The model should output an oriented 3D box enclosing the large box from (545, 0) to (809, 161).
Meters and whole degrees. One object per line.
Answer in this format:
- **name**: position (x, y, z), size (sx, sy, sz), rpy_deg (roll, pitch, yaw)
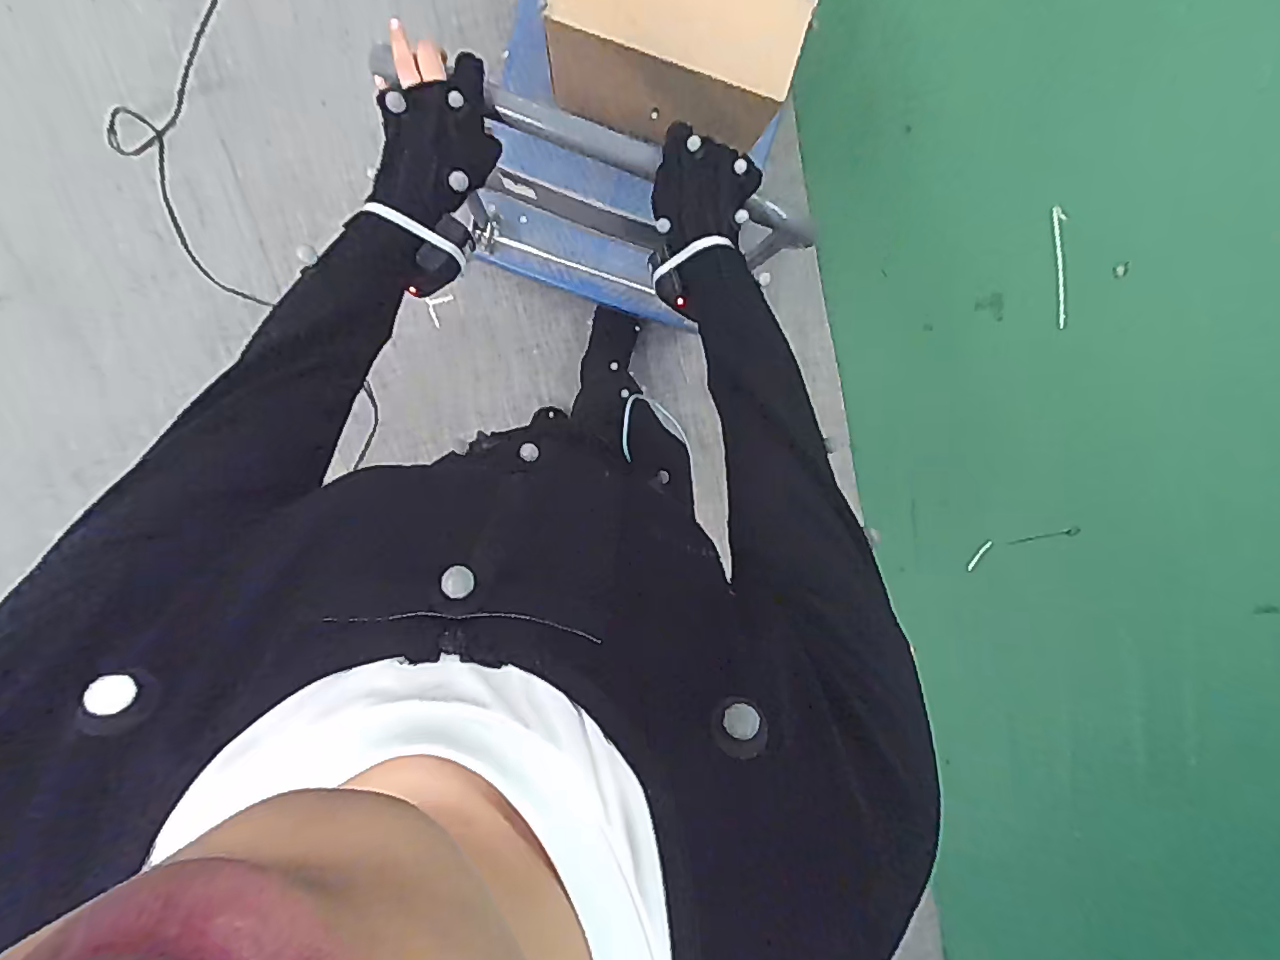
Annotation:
- **large box**: position (0.070, -0.845, 0.980), size (0.408, 0.320, 0.320), rpy_deg (14, 100, -8)
